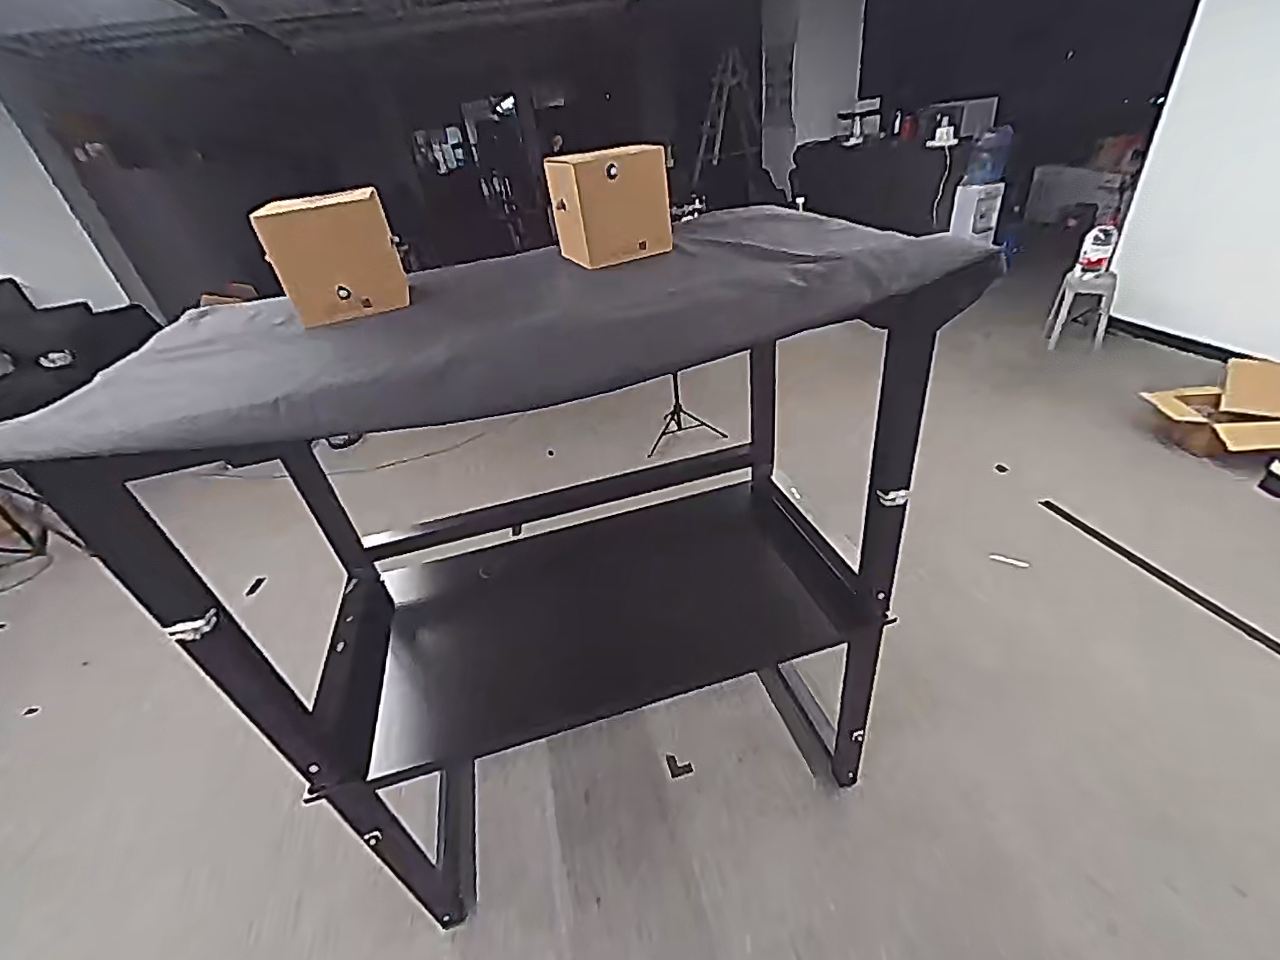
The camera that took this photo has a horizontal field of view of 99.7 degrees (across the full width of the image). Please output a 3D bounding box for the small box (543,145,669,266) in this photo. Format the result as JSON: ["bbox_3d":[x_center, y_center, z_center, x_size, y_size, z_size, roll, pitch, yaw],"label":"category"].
[{"bbox_3d":[-0.062,-0.498,0.983,0.168,0.176,0.179,-21,36,-16],"label":"small box"}]
